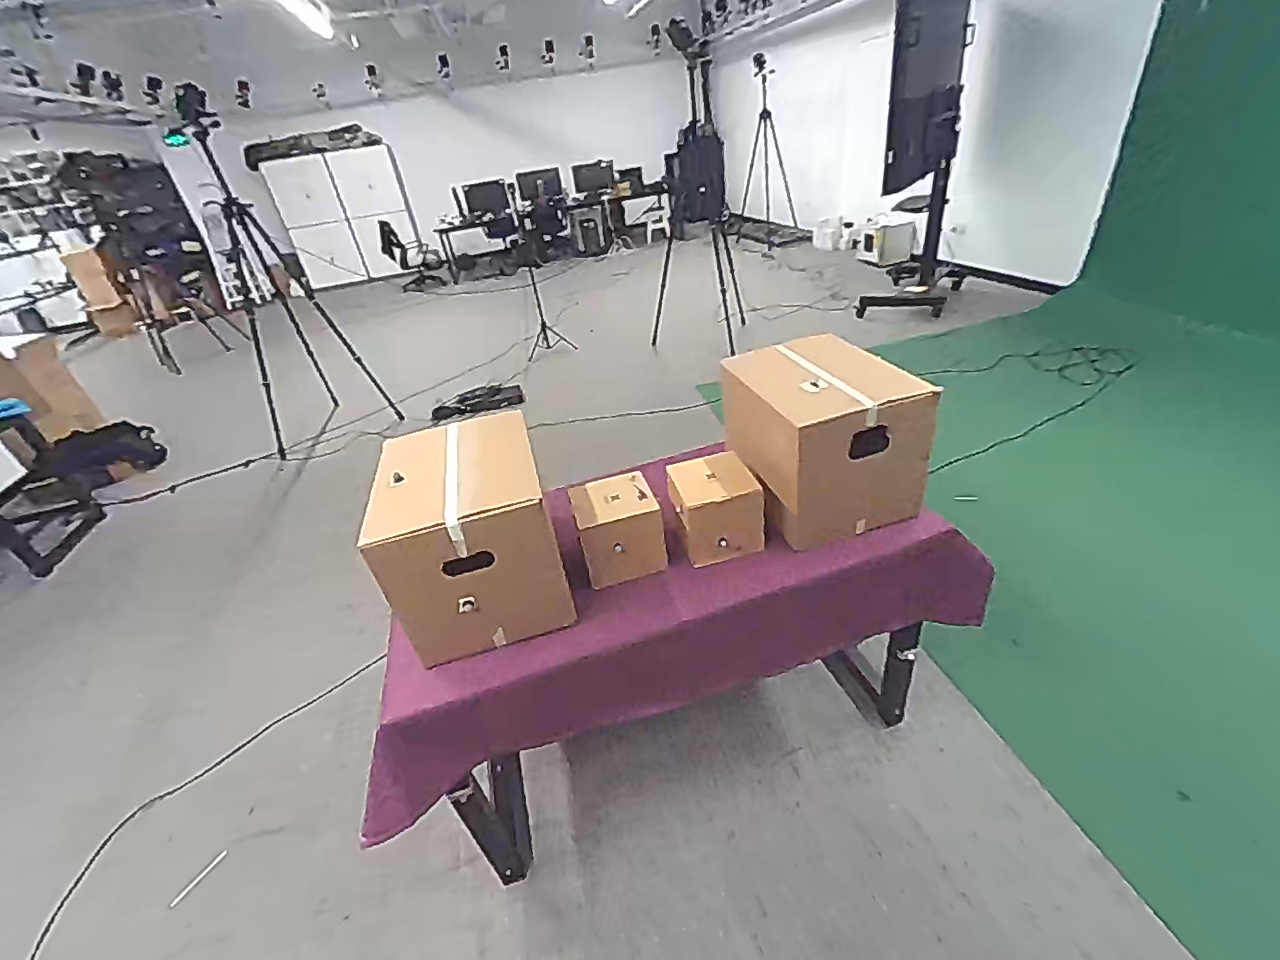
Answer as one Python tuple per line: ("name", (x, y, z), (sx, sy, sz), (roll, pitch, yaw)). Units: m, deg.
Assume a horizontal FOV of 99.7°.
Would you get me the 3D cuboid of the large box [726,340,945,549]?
("large box", (0.424, -0.103, 1.287), (0.320, 0.320, 0.408), (-14, 34, -8))
